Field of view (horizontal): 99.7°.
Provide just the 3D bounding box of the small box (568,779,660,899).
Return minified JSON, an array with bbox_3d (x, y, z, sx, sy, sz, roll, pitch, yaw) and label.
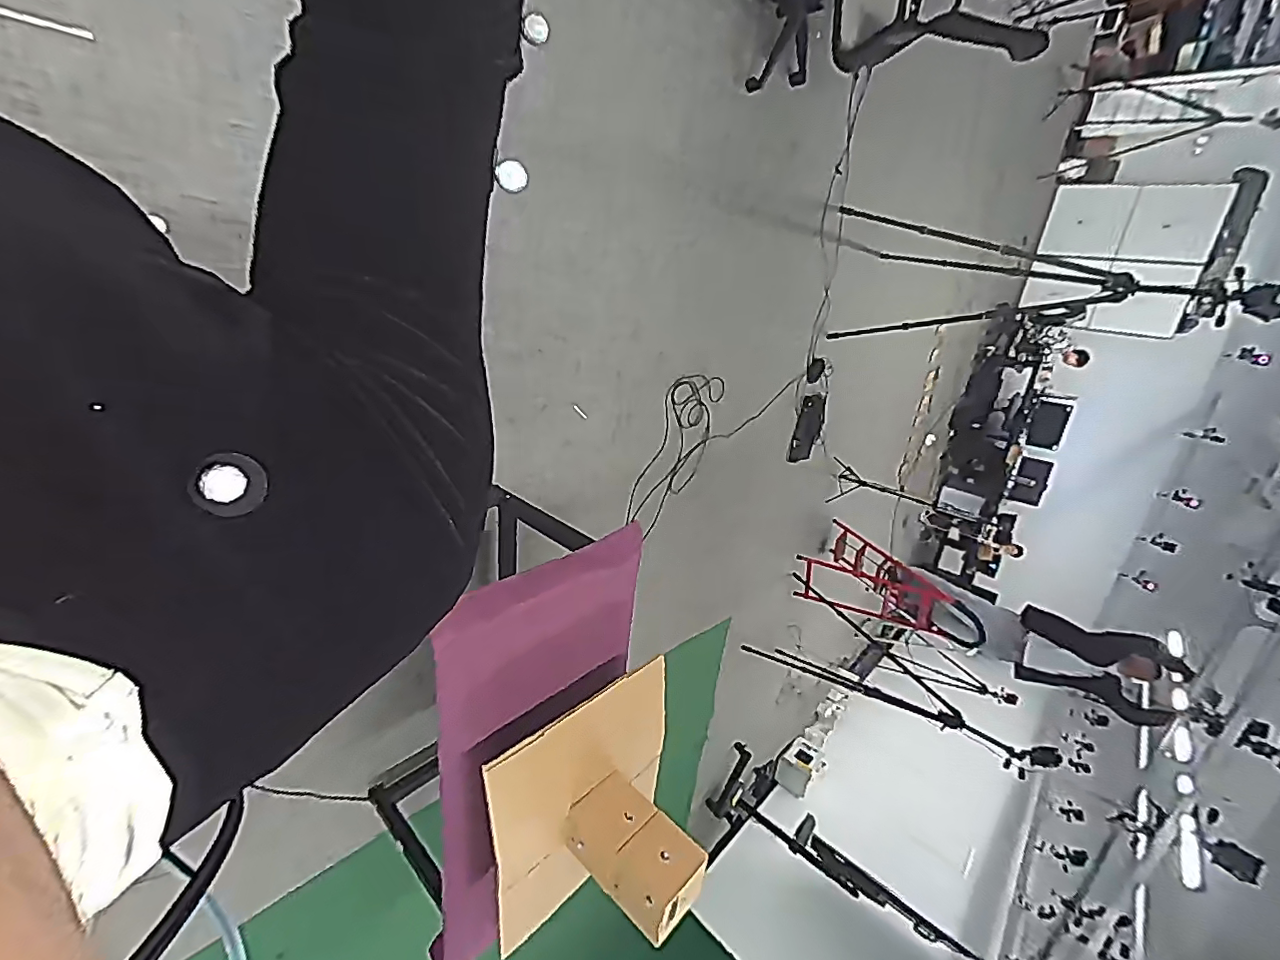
[{"bbox_3d":[-0.072,0.966,1.475,0.179,0.176,0.168,-17,122,-45],"label":"small box"}]
